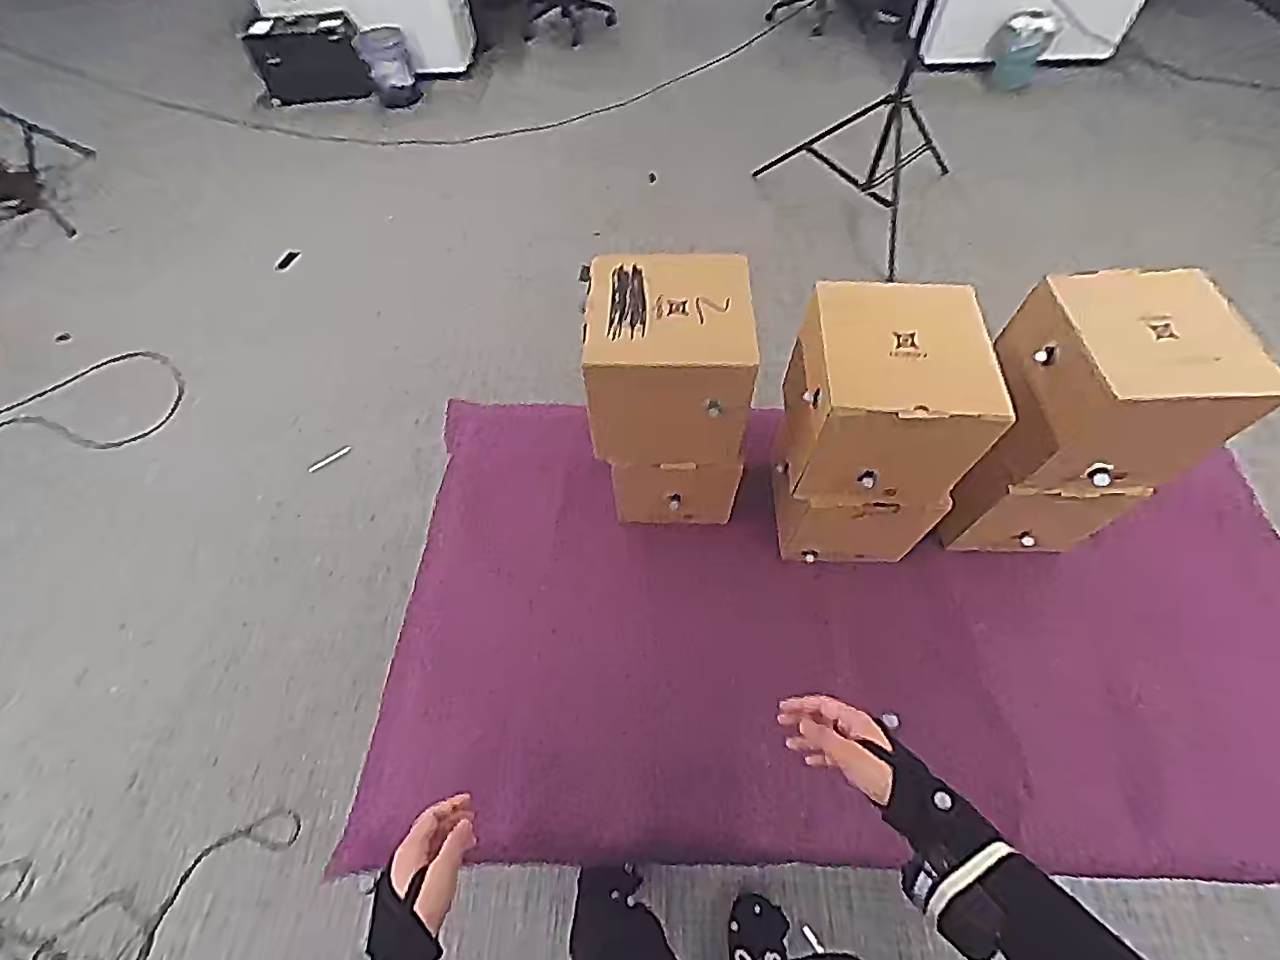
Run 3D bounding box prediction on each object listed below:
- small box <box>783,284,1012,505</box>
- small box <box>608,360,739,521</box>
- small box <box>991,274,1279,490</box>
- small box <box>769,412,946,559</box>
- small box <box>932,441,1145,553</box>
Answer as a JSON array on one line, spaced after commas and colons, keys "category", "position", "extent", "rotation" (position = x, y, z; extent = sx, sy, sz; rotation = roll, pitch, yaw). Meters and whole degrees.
[{"category": "small box", "position": [0.262, -0.090, 0.602], "extent": [0.168, 0.176, 0.179], "rotation": [3, 60, 3]}, {"category": "small box", "position": [0.047, -0.050, 0.773], "extent": [0.168, 0.176, 0.179], "rotation": [1, 60, 2]}, {"category": "small box", "position": [0.512, -0.104, 0.605], "extent": [0.168, 0.176, 0.179], "rotation": [-2, 60, 1]}, {"category": "small box", "position": [0.279, -0.001, 0.738], "extent": [0.168, 0.176, 0.179], "rotation": [1, 58, 2]}, {"category": "small box", "position": [0.510, -0.015, 0.741], "extent": [0.168, 0.176, 0.179], "rotation": [0, 59, 3]}]
